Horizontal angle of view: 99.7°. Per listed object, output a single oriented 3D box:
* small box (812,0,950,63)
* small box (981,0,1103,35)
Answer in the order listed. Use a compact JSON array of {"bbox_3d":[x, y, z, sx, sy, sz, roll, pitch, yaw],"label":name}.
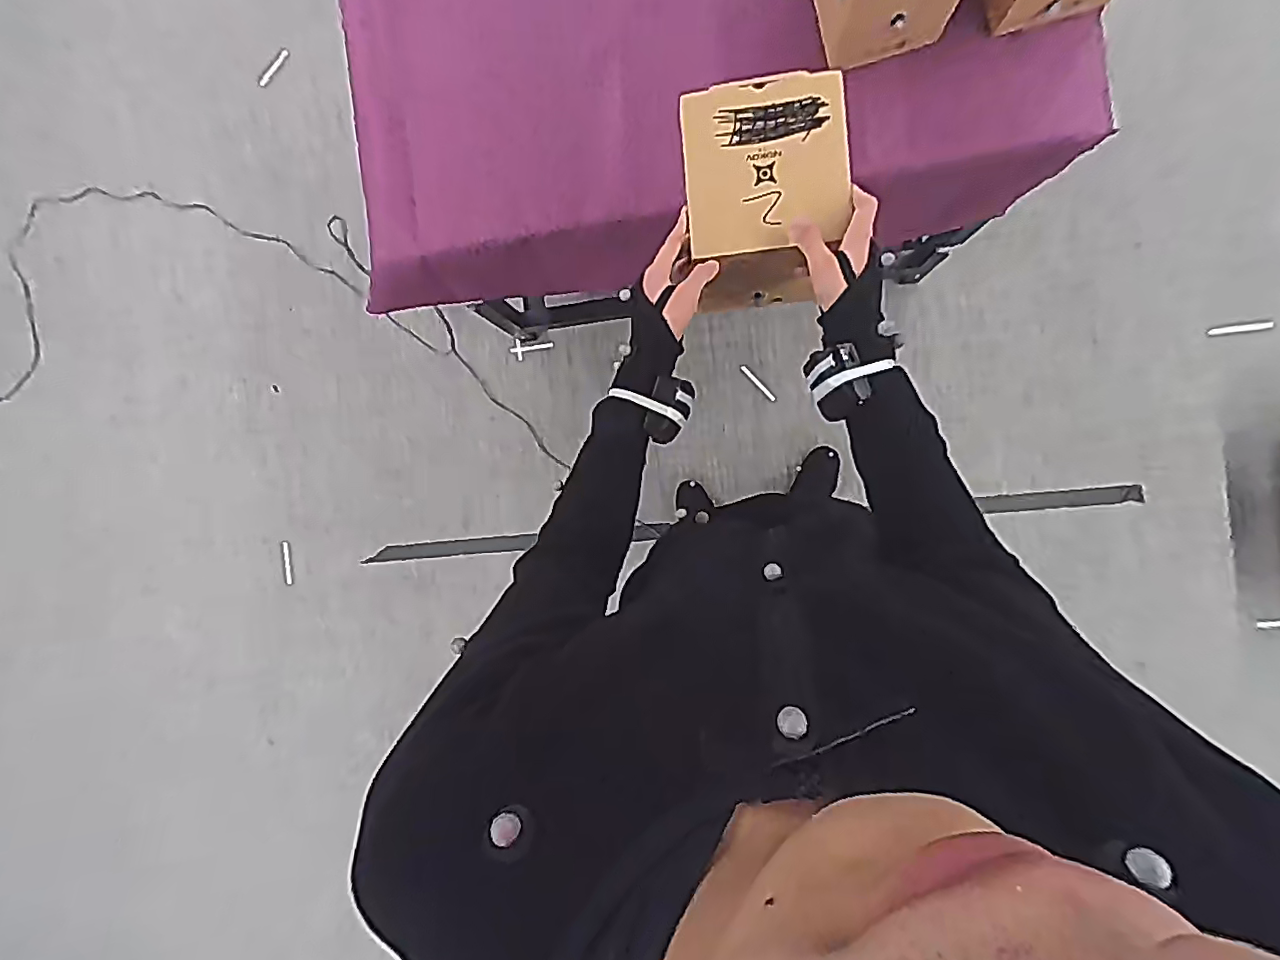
[{"bbox_3d":[0.348,-0.740,0.765,0.168,0.176,0.179,-13,90,7],"label":"small box"},{"bbox_3d":[0.583,-0.773,0.736,0.168,0.176,0.179,-11,90,9],"label":"small box"}]
